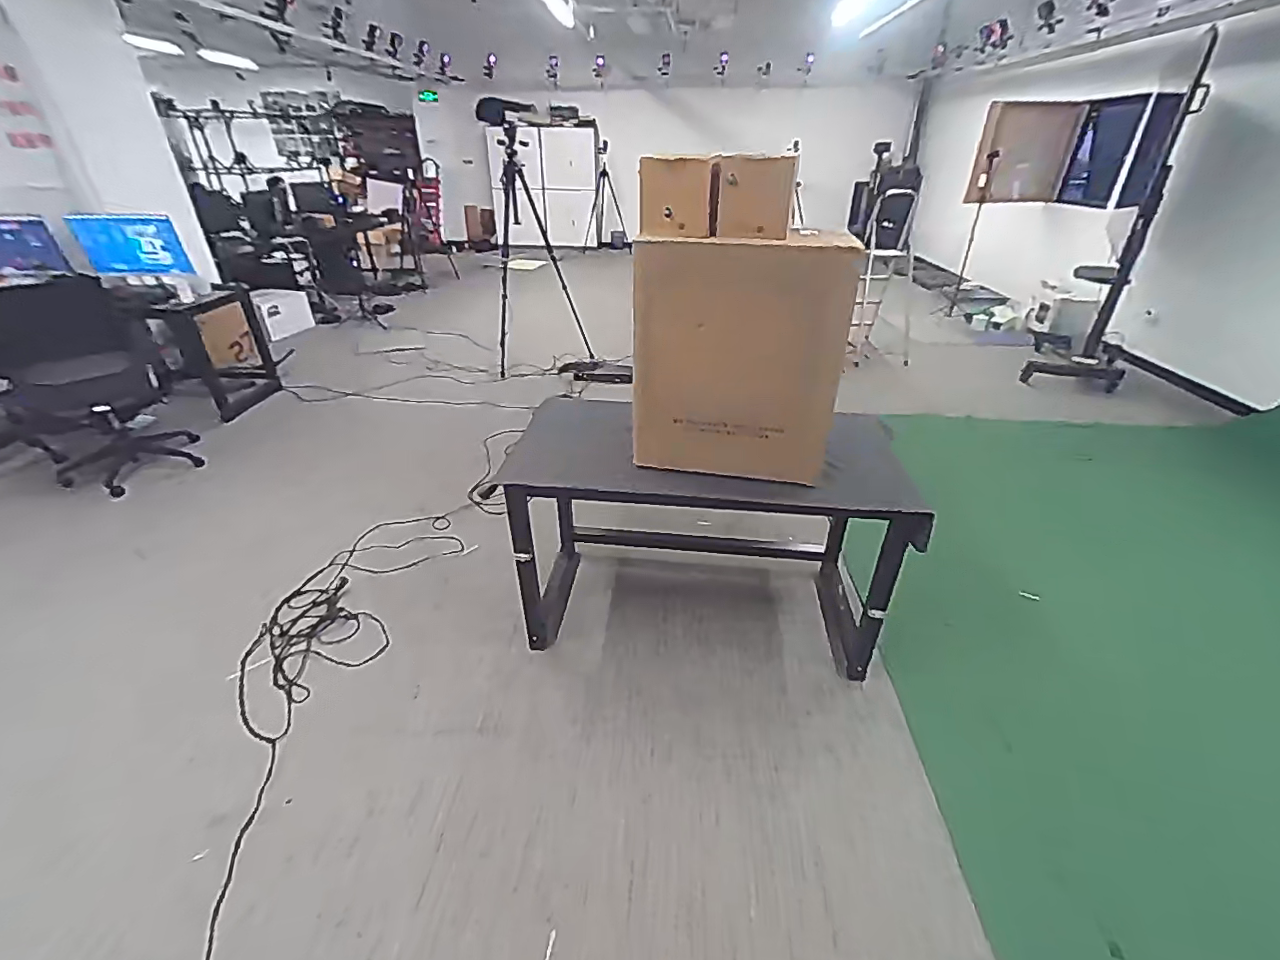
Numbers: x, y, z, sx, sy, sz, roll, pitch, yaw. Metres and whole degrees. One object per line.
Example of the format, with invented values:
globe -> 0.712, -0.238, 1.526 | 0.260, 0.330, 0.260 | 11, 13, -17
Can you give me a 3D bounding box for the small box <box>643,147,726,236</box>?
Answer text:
small box -> 0.106, -0.698, 1.302 | 0.168, 0.176, 0.179 | 9, 36, 13
